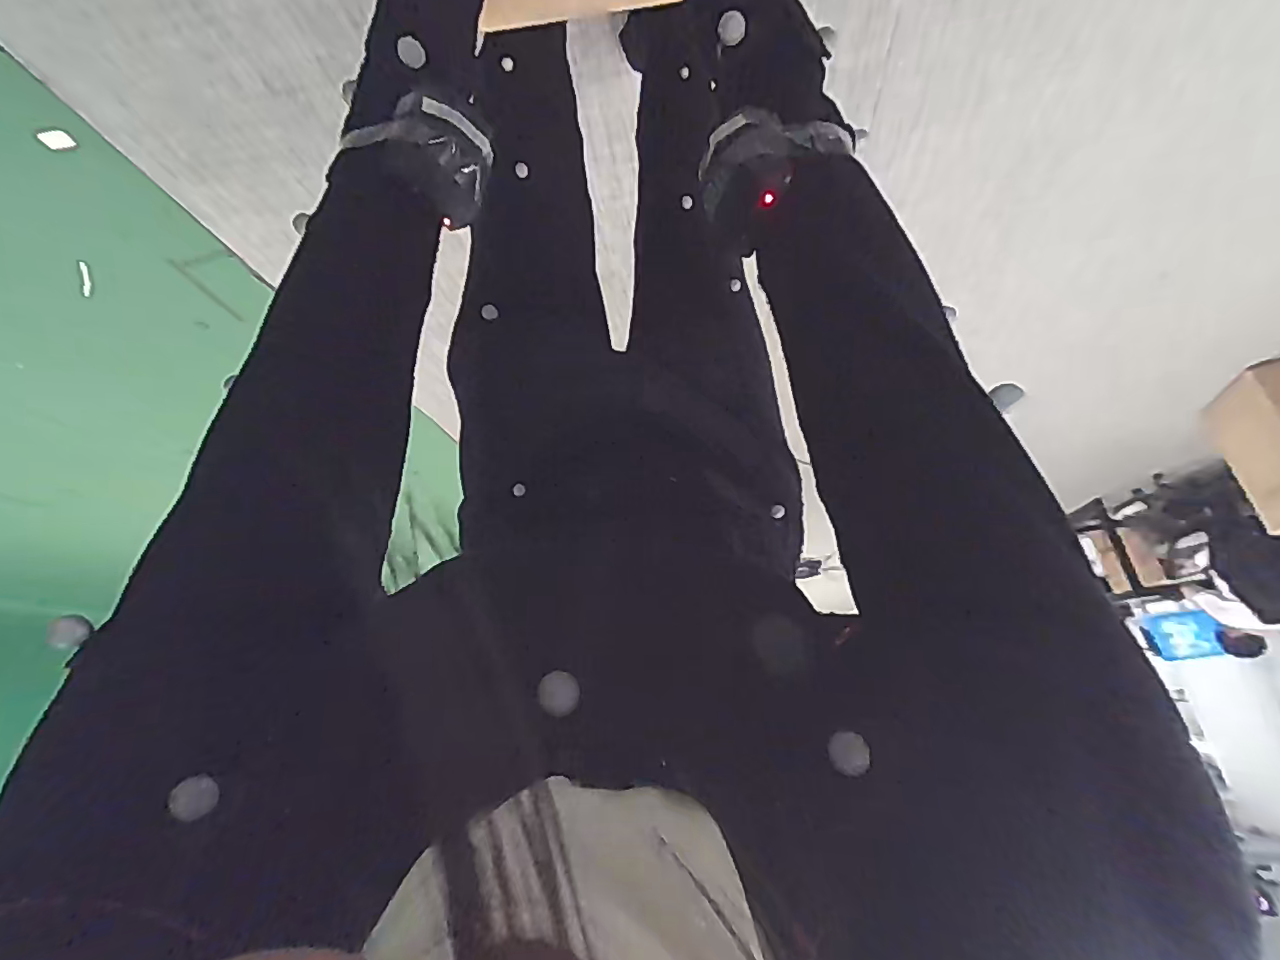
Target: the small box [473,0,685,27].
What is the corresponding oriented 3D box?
[{"bbox_3d":[-0.052,-0.467,0.375,0.179,0.176,0.168,-6,158,1],"label":"small box"}]
